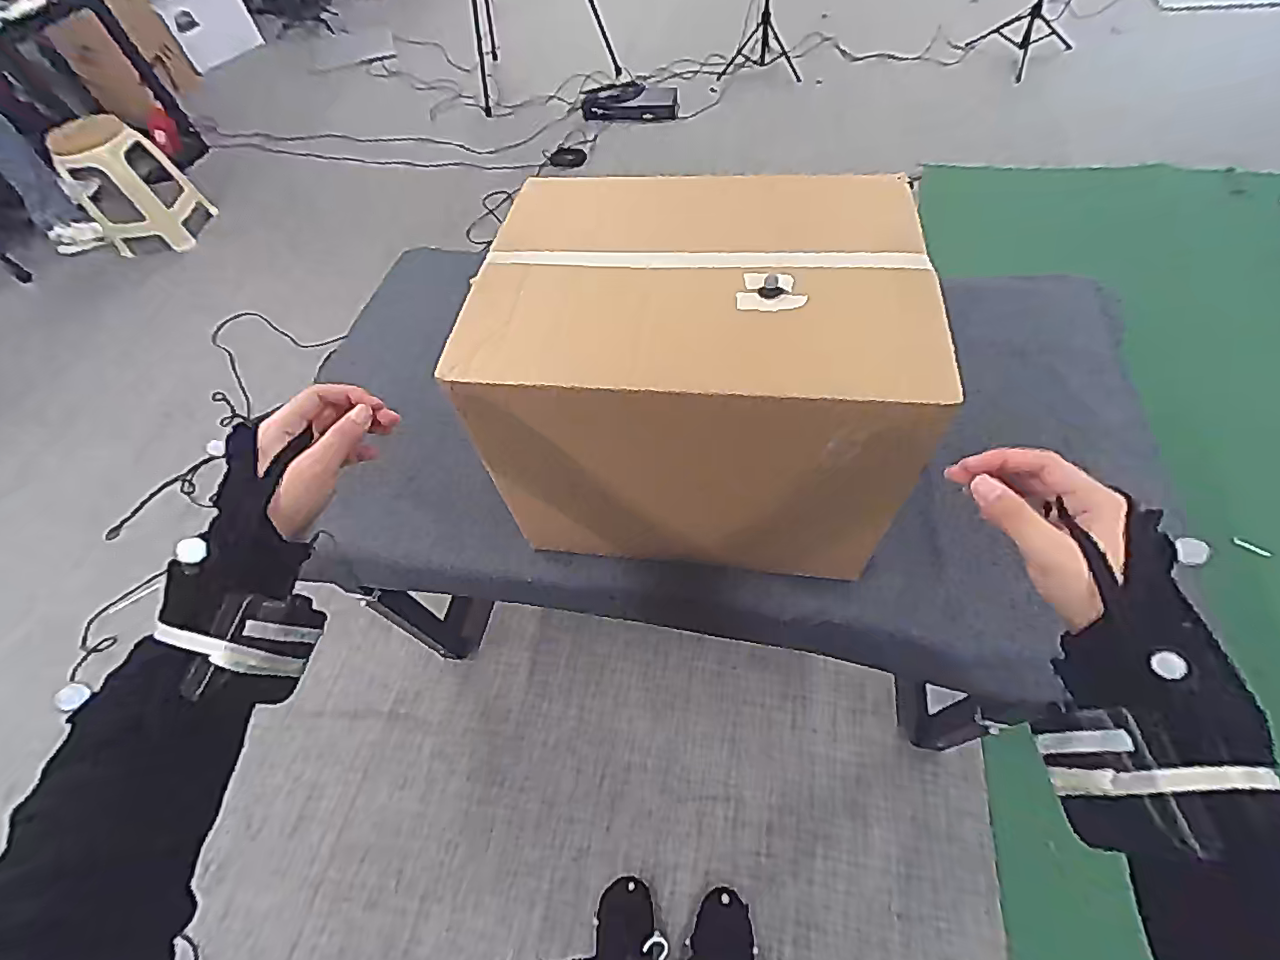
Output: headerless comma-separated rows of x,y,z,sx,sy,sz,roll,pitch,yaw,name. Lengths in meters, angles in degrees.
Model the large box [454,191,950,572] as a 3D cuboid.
0.065,-0.107,0.632,0.408,0.320,0.320,4,56,8,large box
